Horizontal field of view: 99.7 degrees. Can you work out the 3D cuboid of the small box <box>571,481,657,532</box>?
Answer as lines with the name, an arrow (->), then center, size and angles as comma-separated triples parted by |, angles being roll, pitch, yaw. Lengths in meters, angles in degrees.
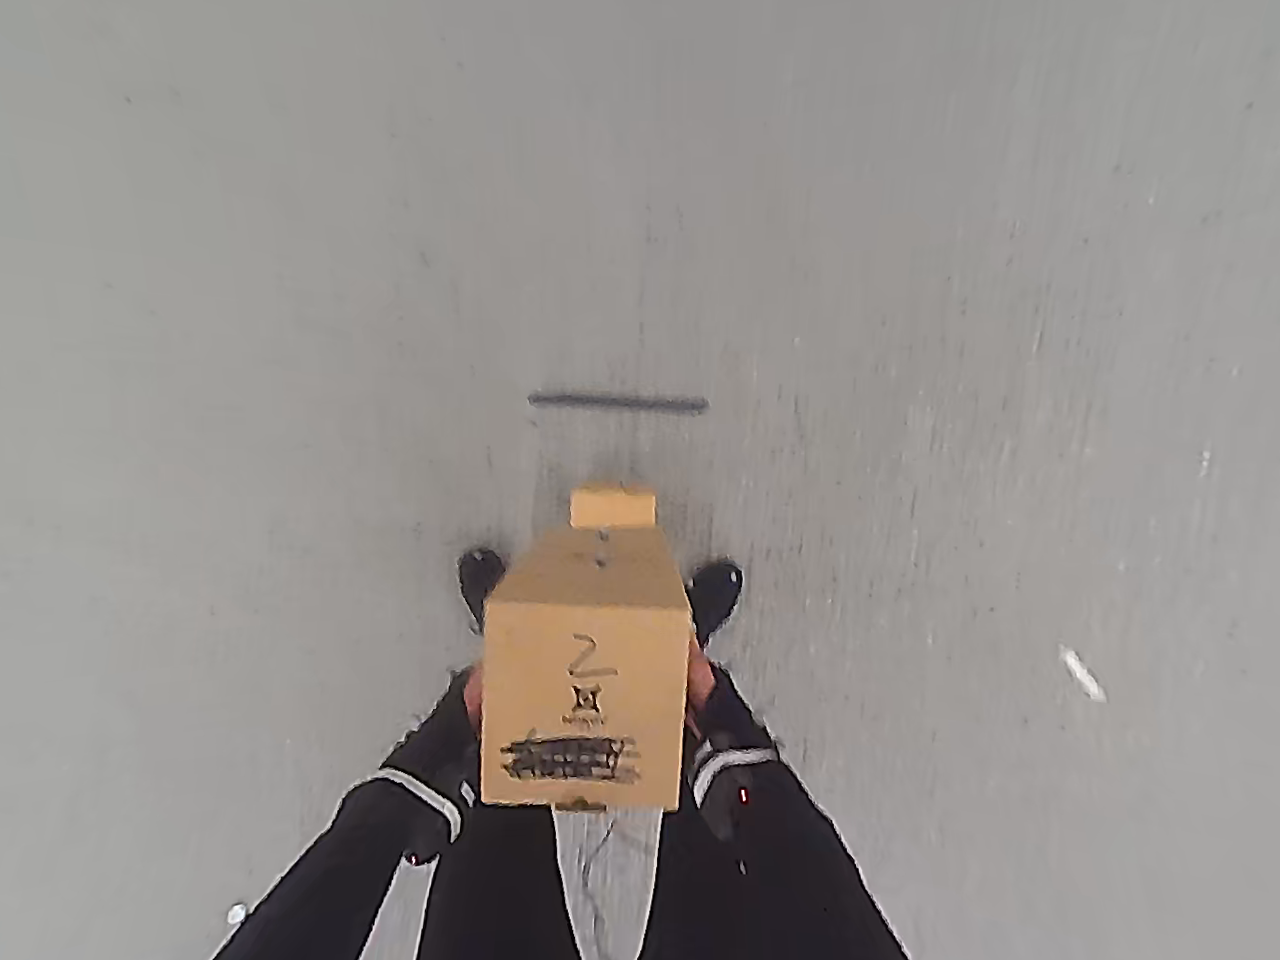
small box -> -0.052, 0.103, 1.131 | 0.168, 0.176, 0.179 | 3, 97, 1
